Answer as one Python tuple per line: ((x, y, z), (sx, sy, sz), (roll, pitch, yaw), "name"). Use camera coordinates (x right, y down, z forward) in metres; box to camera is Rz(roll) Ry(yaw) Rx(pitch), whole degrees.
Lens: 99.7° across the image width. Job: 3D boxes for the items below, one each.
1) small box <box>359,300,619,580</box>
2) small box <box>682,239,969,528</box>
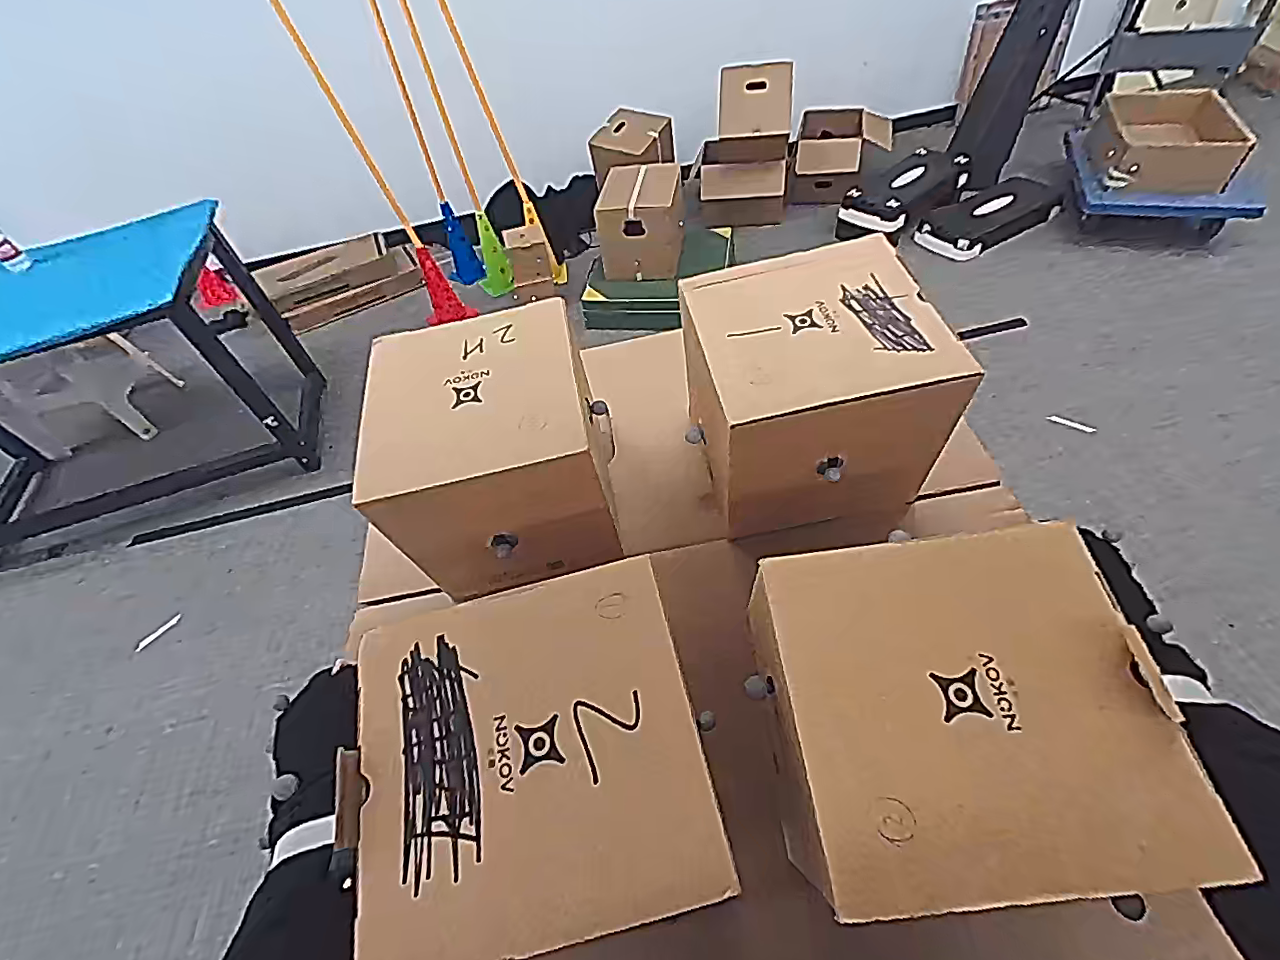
((-0.119, -0.025, 0.485), (0.168, 0.176, 0.179), (-12, 55, 0), "small box")
((0.138, -0.076, 0.476), (0.179, 0.176, 0.168), (-10, 56, 2), "small box")
